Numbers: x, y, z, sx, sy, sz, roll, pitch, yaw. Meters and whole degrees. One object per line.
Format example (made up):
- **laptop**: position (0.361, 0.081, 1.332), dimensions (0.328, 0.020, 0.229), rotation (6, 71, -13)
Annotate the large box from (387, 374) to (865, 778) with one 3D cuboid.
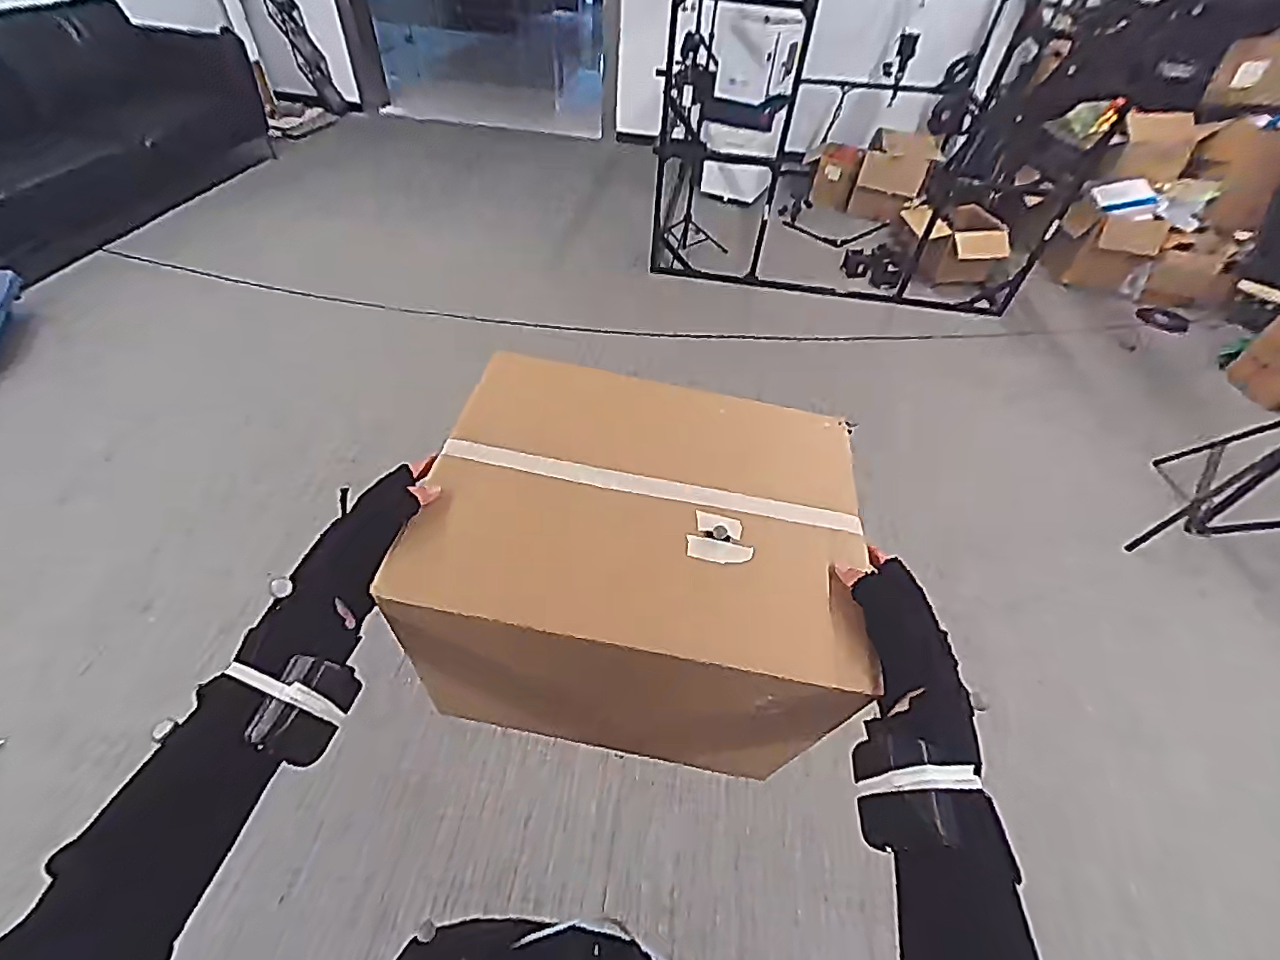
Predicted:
- **large box**: position (-0.012, 0.120, 0.642), dimensions (0.408, 0.320, 0.320), rotation (12, 50, 0)
